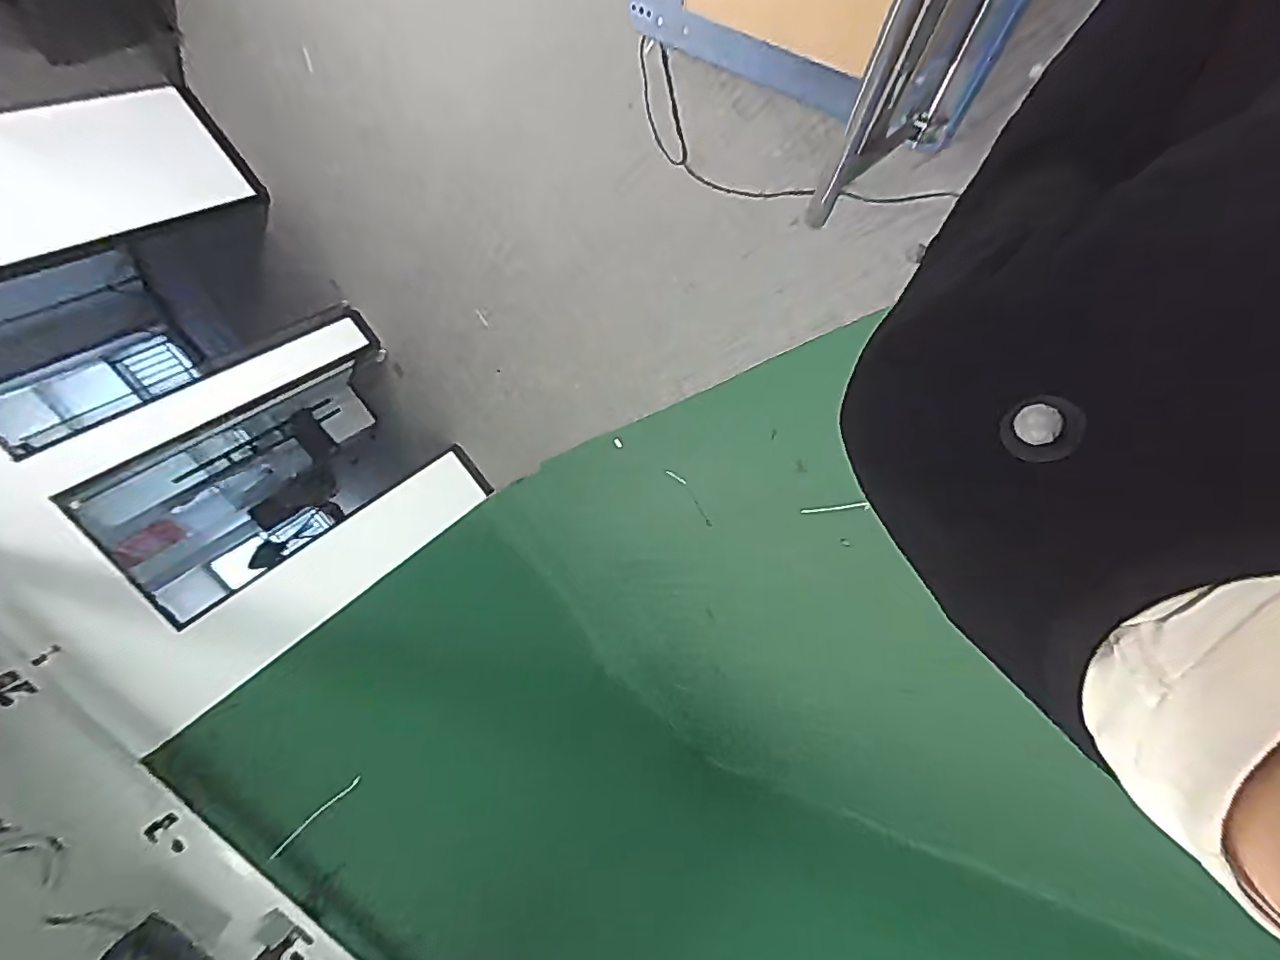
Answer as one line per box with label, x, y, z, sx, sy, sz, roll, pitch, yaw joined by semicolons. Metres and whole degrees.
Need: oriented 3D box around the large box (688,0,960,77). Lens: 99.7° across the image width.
large box;0.354;-0.954;0.922;0.408;0.320;0.320;37;145;18
